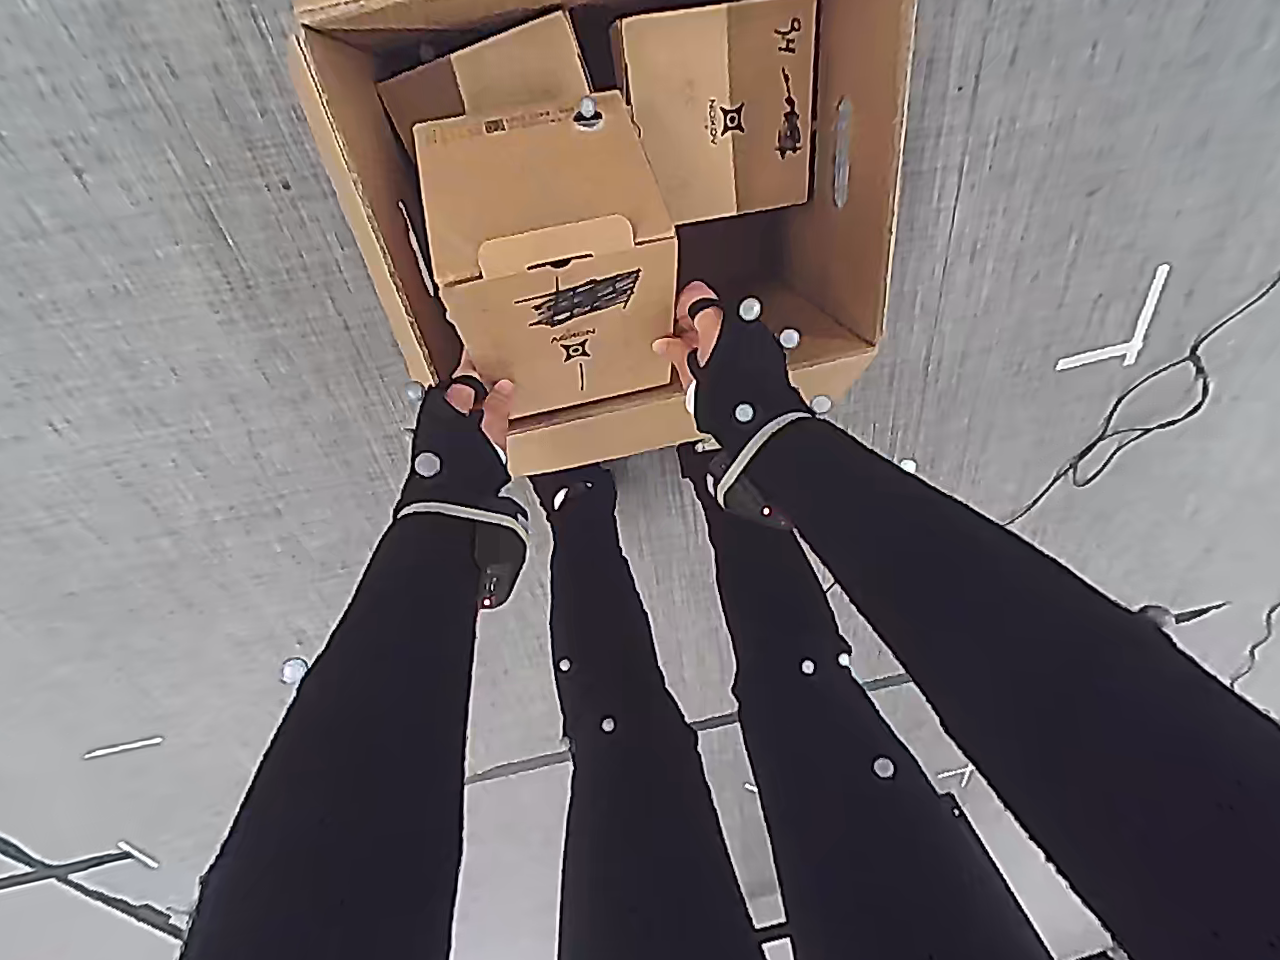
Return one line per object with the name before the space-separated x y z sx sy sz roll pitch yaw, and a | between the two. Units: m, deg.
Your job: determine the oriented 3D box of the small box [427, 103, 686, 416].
small box | -0.067 -0.183 0.458 0.168 0.176 0.179 -13 157 -6
